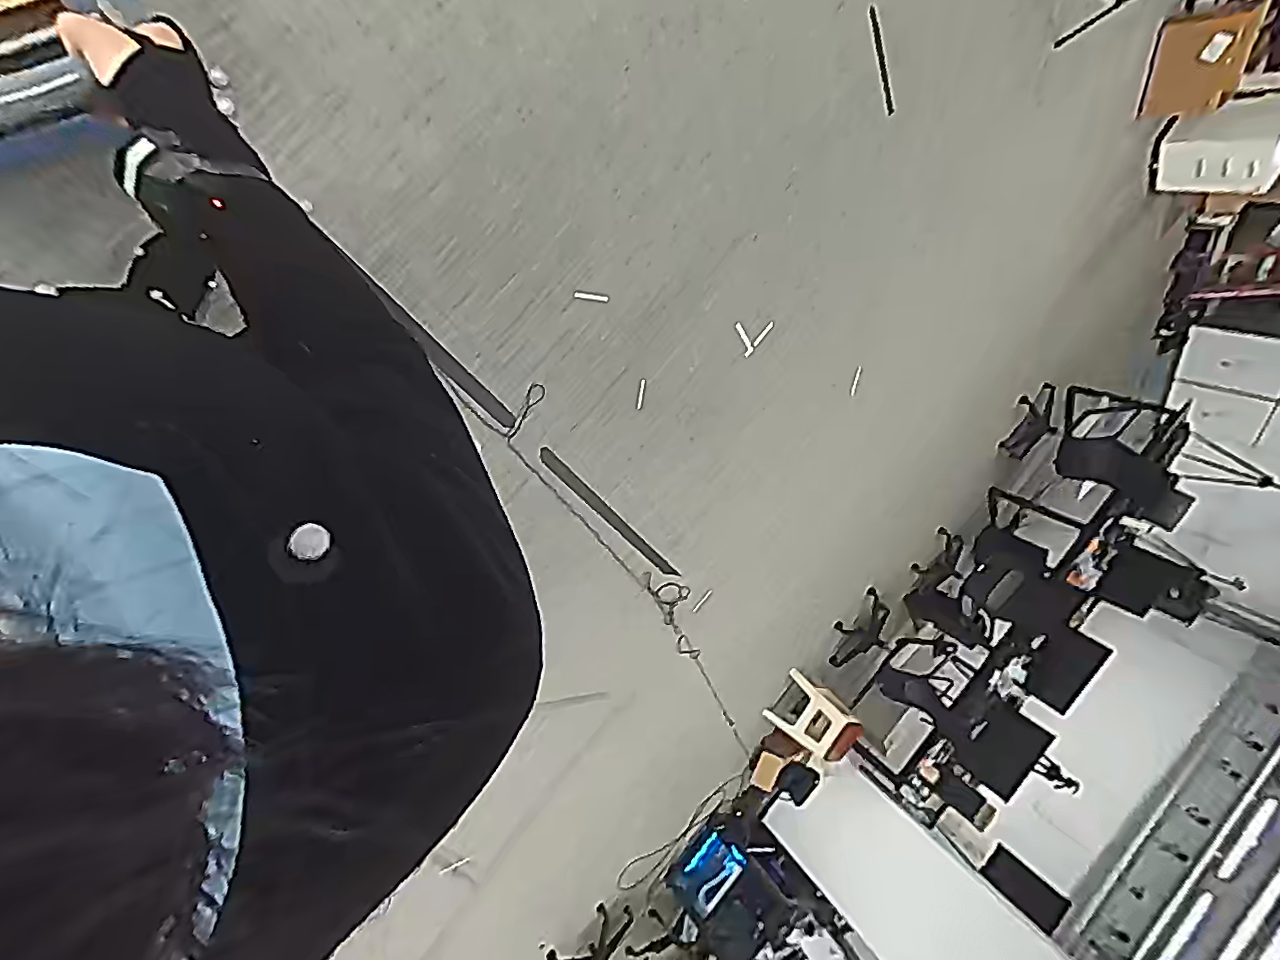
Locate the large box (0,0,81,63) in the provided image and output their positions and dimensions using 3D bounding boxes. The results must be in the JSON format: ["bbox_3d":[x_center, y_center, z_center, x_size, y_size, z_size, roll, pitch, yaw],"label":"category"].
[{"bbox_3d":[-0.918,-0.587,0.532,0.408,0.320,0.320,-37,133,-19],"label":"large box"}]
